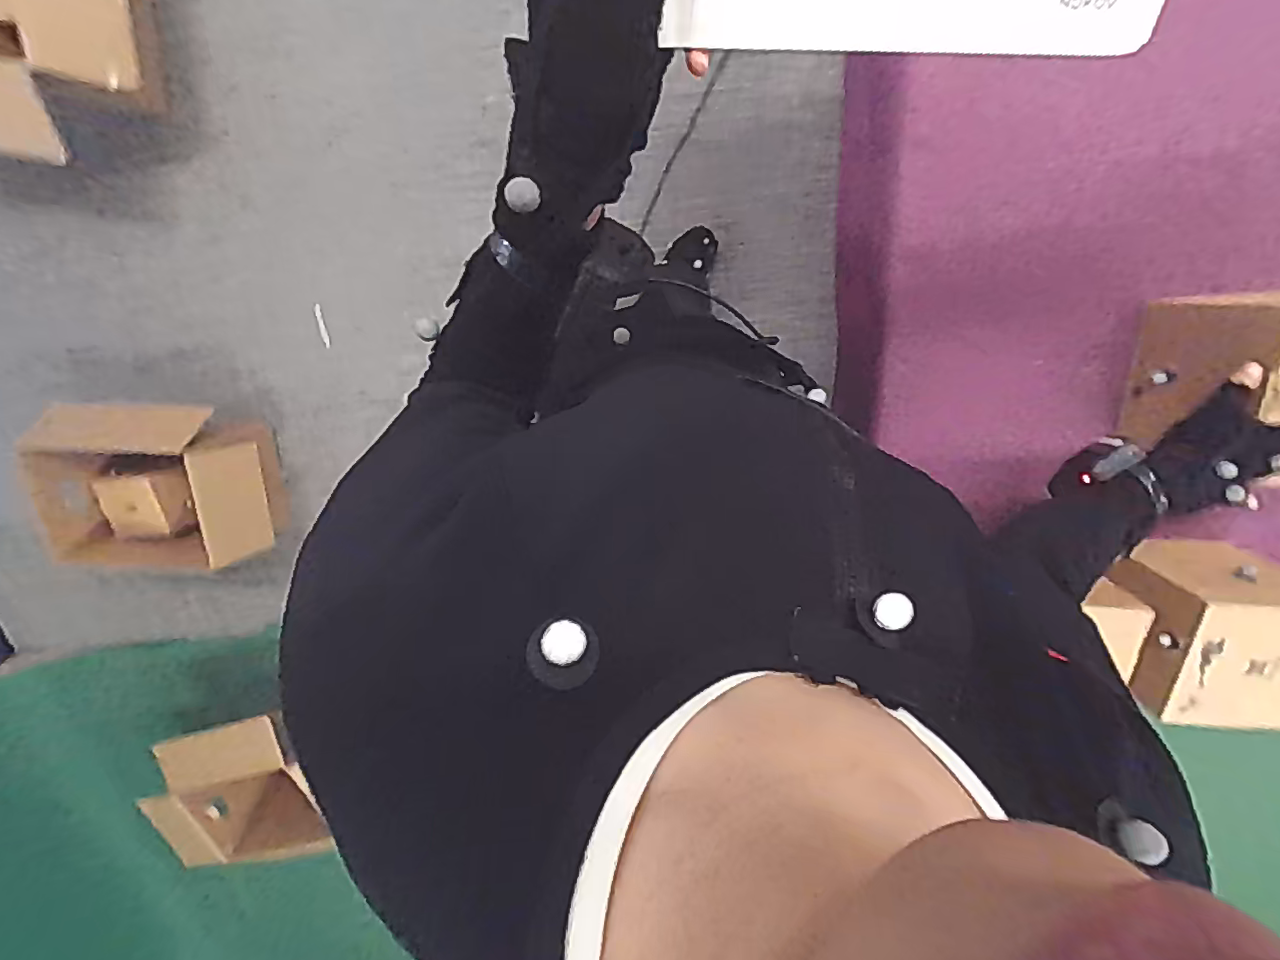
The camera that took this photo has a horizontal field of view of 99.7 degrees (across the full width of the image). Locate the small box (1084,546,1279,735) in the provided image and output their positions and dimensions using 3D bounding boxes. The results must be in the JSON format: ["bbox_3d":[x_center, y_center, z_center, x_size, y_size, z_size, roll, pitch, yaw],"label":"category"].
[{"bbox_3d":[0.701,0.193,0.686,0.179,0.176,0.168,2,109,1],"label":"small box"}]

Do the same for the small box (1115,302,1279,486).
[{"bbox_3d":[0.681,-0.101,0.582,0.179,0.176,0.168,-2,109,4],"label":"small box"}]
